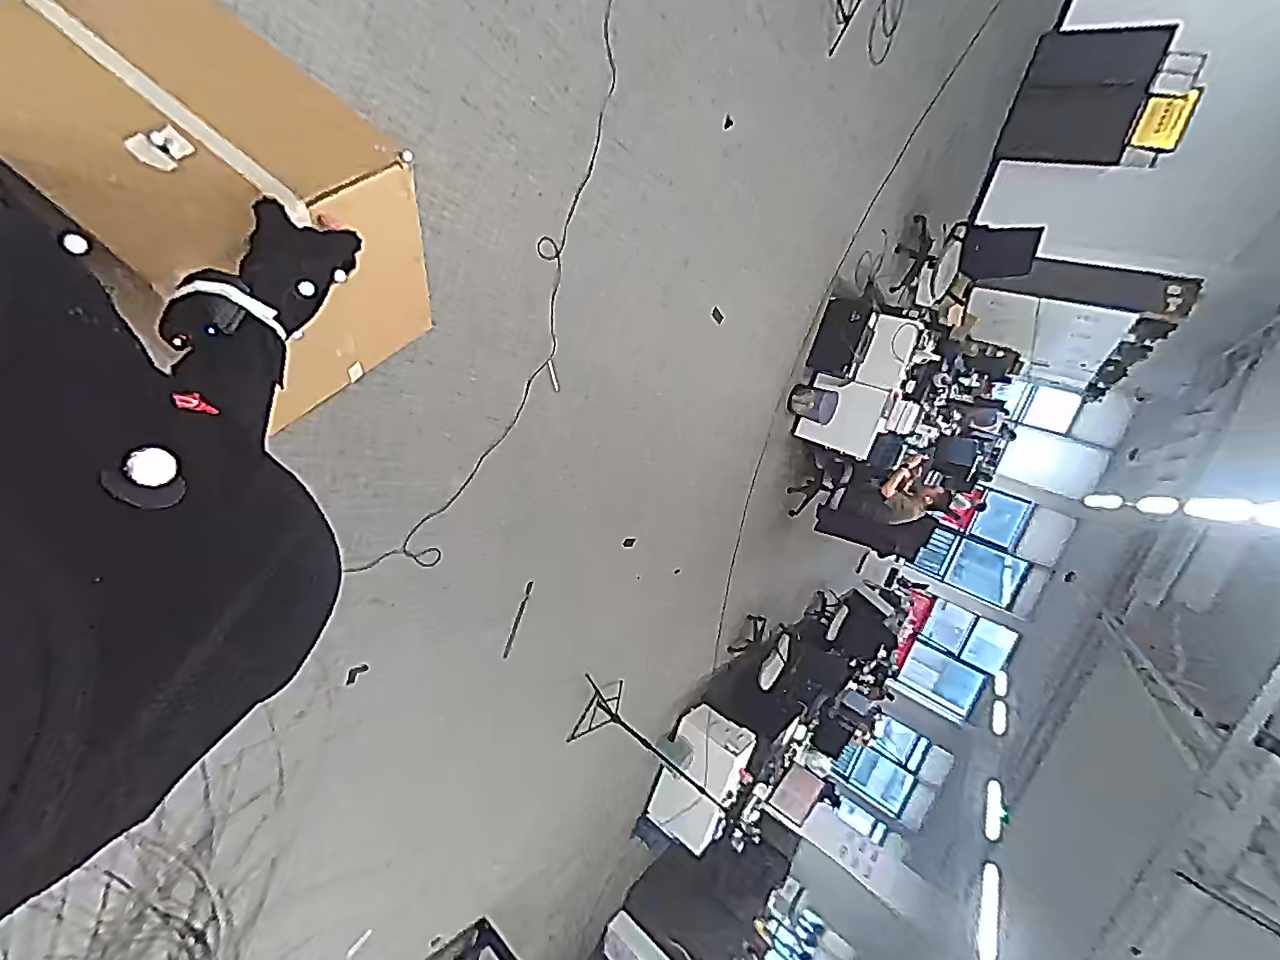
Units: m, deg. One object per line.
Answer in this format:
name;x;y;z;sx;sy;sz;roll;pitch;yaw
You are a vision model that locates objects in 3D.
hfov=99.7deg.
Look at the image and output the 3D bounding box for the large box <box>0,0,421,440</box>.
large box;-0.565;-0.334;0.725;0.320;0.408;0.320;-49;177;-28
